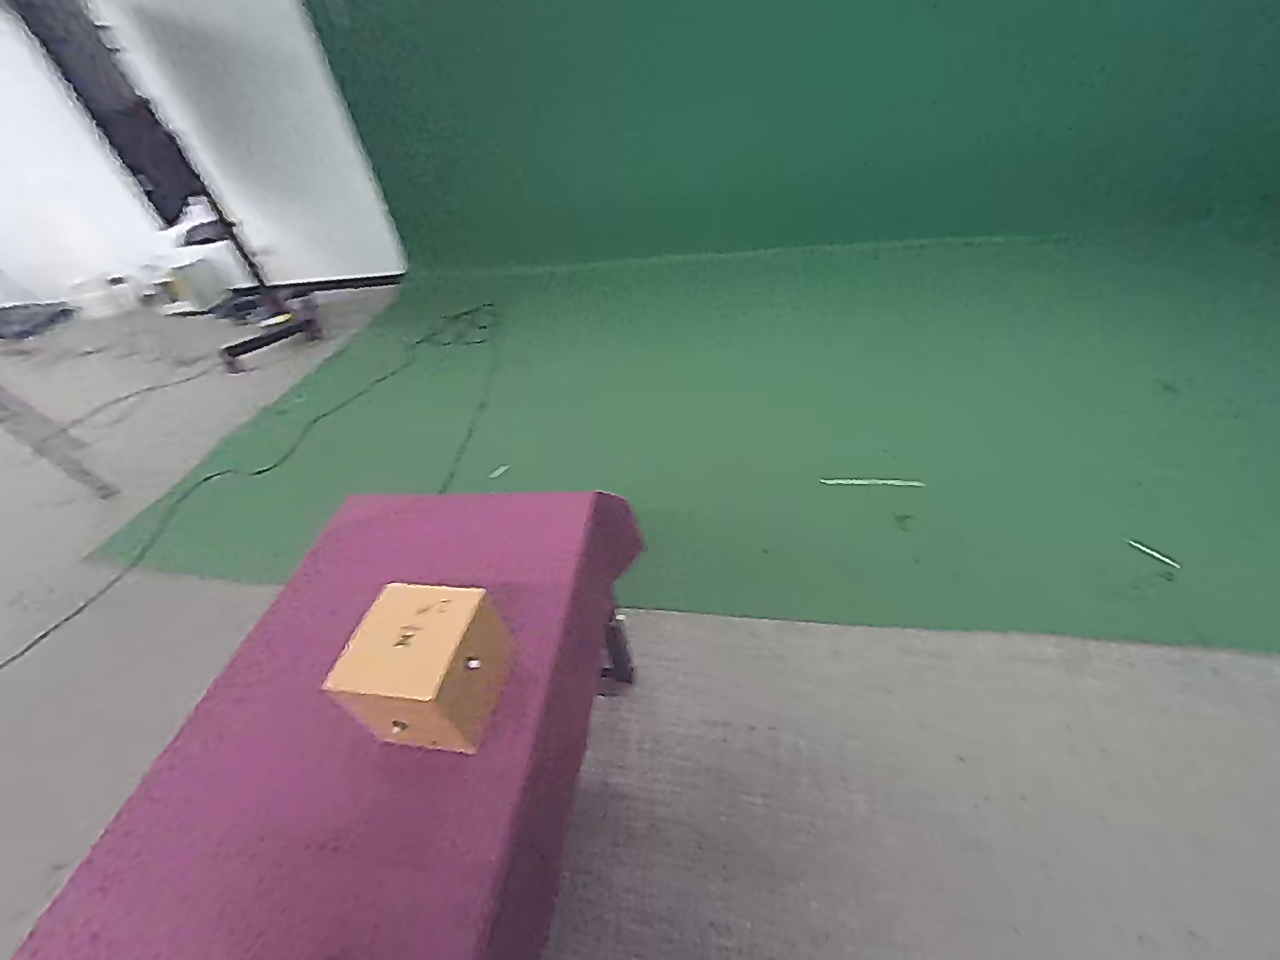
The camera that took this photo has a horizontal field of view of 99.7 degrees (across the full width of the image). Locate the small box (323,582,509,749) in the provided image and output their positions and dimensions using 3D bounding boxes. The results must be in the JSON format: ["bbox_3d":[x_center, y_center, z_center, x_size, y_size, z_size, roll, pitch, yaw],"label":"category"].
[{"bbox_3d":[-0.315,0.277,0.809,0.168,0.176,0.179,1,43,13],"label":"small box"}]
